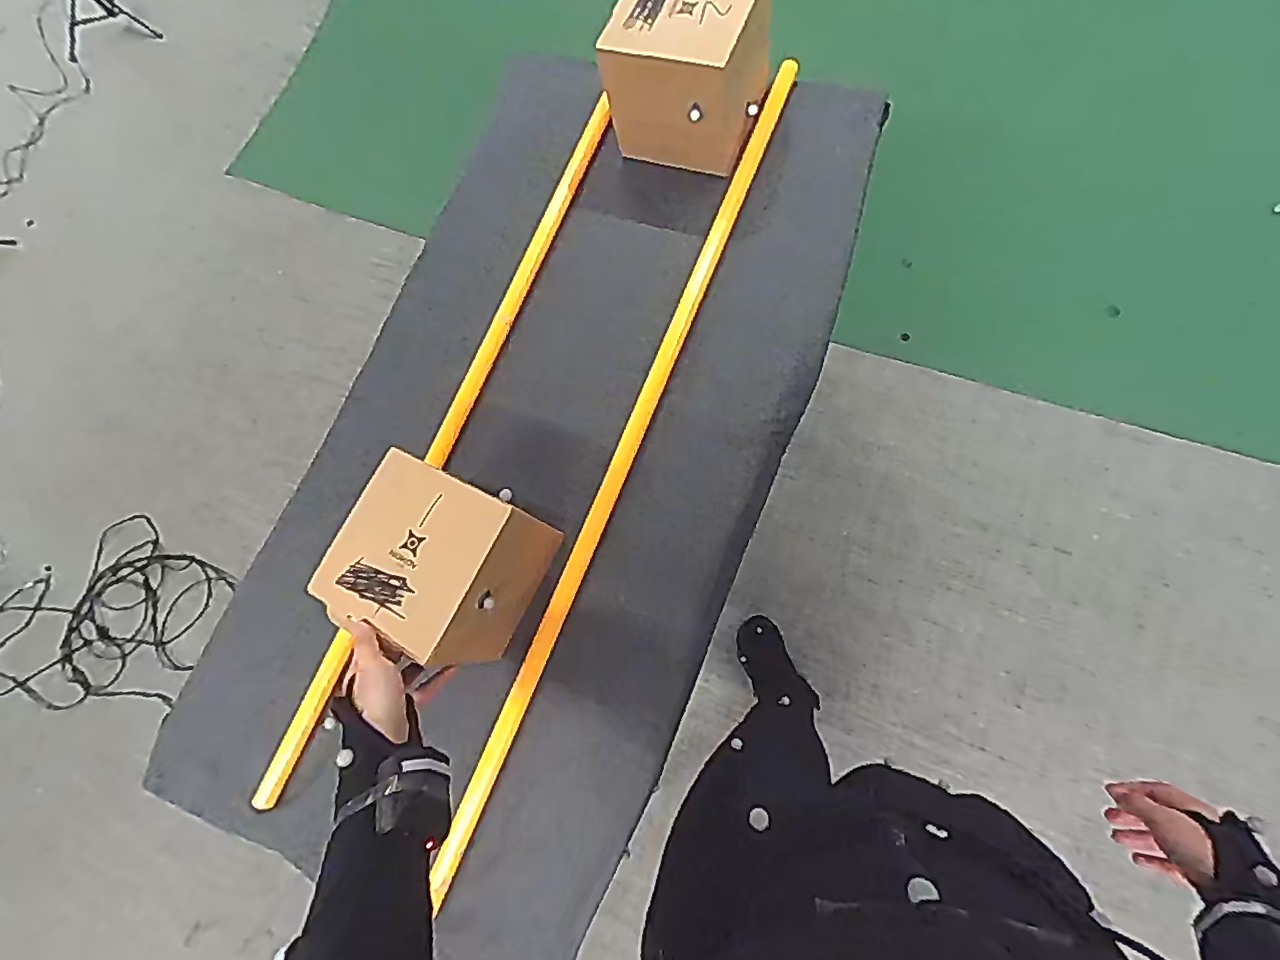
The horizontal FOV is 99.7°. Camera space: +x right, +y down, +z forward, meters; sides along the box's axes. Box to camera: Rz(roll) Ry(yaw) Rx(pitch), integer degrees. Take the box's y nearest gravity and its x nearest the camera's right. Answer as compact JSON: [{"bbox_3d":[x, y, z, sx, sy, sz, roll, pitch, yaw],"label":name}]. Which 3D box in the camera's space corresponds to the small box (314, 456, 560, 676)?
[{"bbox_3d":[-0.215,0.102,0.625,0.168,0.176,0.179,25,80,16],"label":"small box"}]
